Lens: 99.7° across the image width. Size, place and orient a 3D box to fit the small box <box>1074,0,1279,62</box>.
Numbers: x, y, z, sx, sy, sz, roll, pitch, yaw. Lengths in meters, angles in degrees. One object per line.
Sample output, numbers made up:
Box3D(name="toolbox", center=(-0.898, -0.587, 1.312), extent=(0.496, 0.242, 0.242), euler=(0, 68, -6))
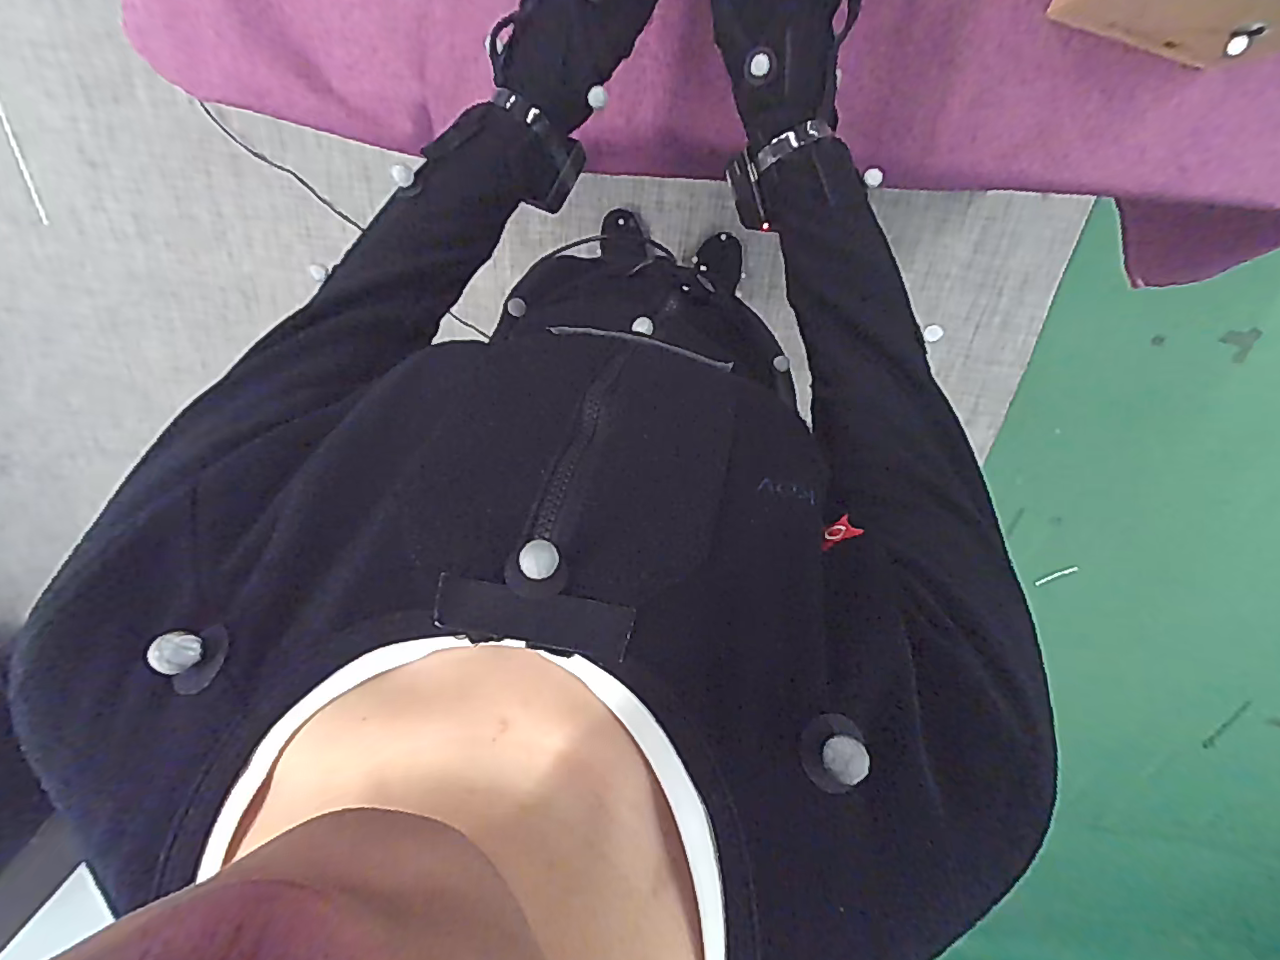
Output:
Box3D(name="small box", center=(0.462, -0.435, 0.384), extent=(0.168, 0.176, 0.179), euler=(16, 118, -3))
